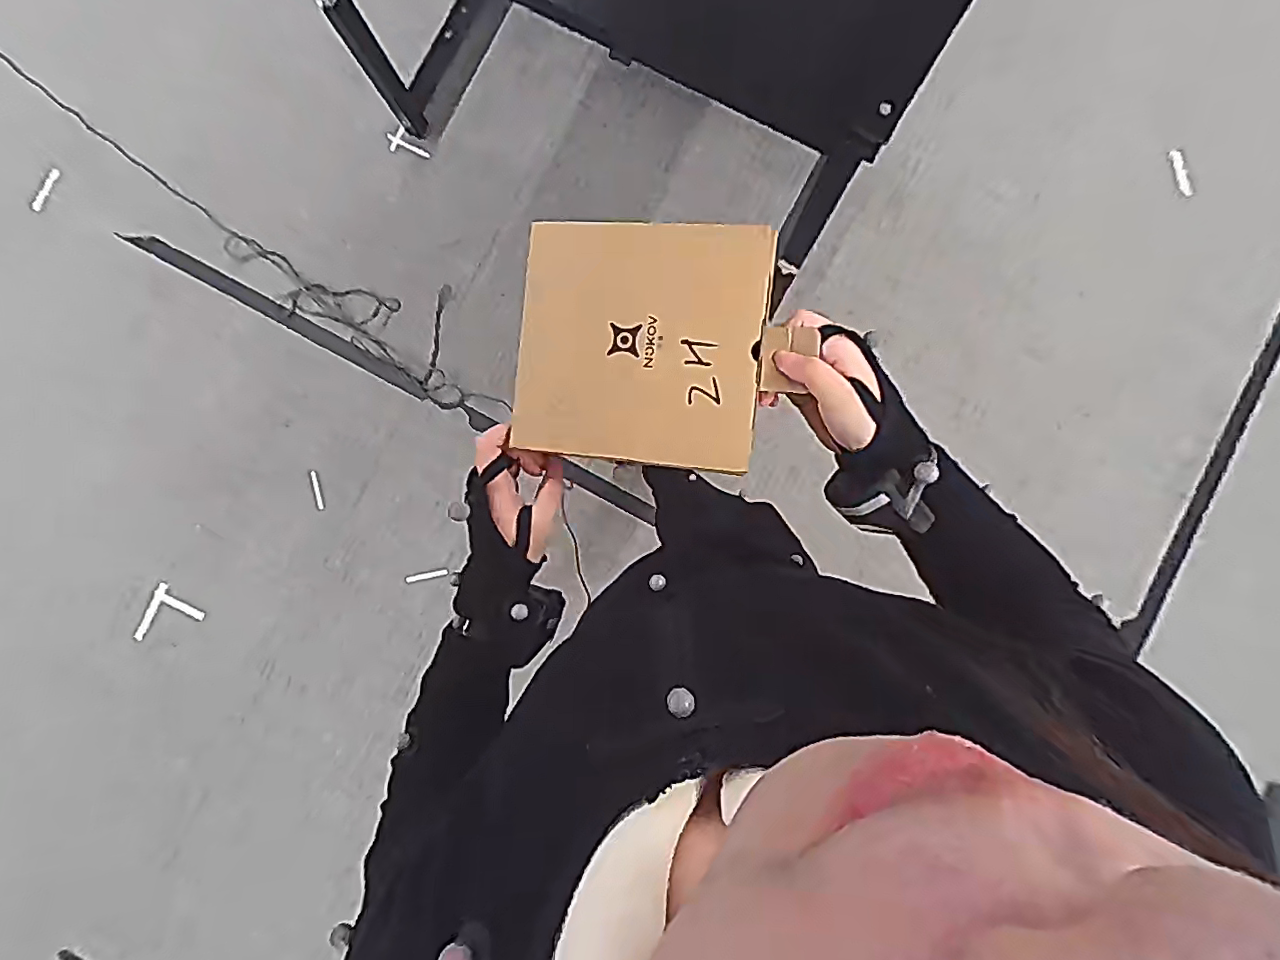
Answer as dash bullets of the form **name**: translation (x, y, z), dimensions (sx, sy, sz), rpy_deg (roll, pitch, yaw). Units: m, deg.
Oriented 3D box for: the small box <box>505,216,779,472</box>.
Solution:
- **small box**: translation (0.012, -0.096, 0.446), dimensions (0.179, 0.176, 0.168), rpy_deg (7, 93, 10)
